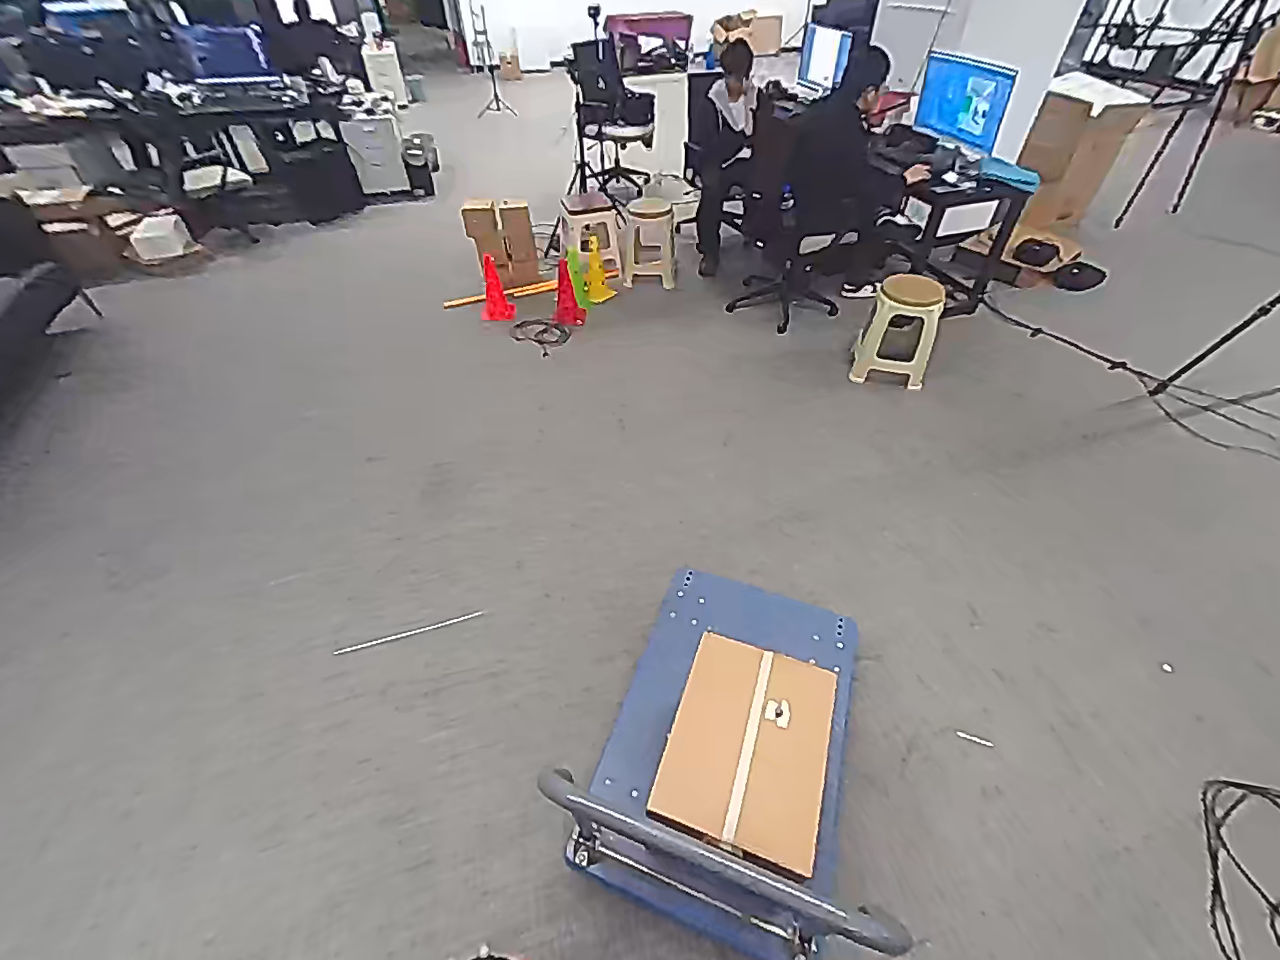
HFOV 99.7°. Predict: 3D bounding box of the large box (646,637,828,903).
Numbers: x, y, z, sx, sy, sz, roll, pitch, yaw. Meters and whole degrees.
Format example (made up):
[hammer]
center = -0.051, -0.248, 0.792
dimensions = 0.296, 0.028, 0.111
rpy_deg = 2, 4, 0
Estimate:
[large box]
center = 0.220, 0.650, 1.237
dimensions = 0.320, 0.320, 0.408
rpy_deg = 15, 46, 14
